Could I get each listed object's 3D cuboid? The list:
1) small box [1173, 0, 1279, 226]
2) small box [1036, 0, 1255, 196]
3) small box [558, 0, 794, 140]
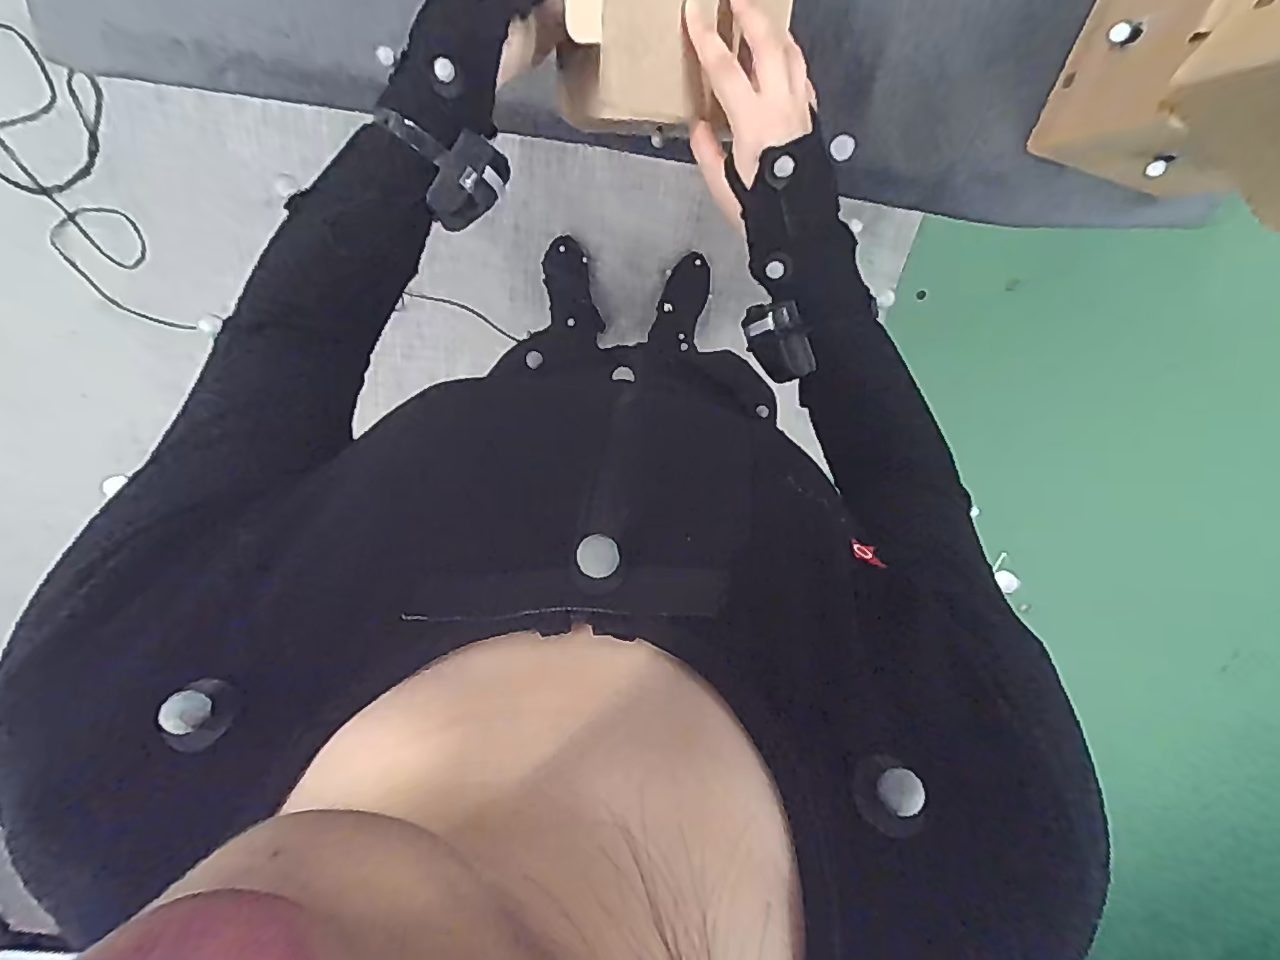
[{"bbox_3d":[0.517,-0.278,0.341,0.179,0.176,0.168,33,110,-16],"label":"small box"},{"bbox_3d":[0.514,-0.364,0.481,0.179,0.176,0.168,13,114,-7],"label":"small box"},{"bbox_3d":[0.028,-0.396,0.463,0.179,0.176,0.168,3,121,-1],"label":"small box"}]
